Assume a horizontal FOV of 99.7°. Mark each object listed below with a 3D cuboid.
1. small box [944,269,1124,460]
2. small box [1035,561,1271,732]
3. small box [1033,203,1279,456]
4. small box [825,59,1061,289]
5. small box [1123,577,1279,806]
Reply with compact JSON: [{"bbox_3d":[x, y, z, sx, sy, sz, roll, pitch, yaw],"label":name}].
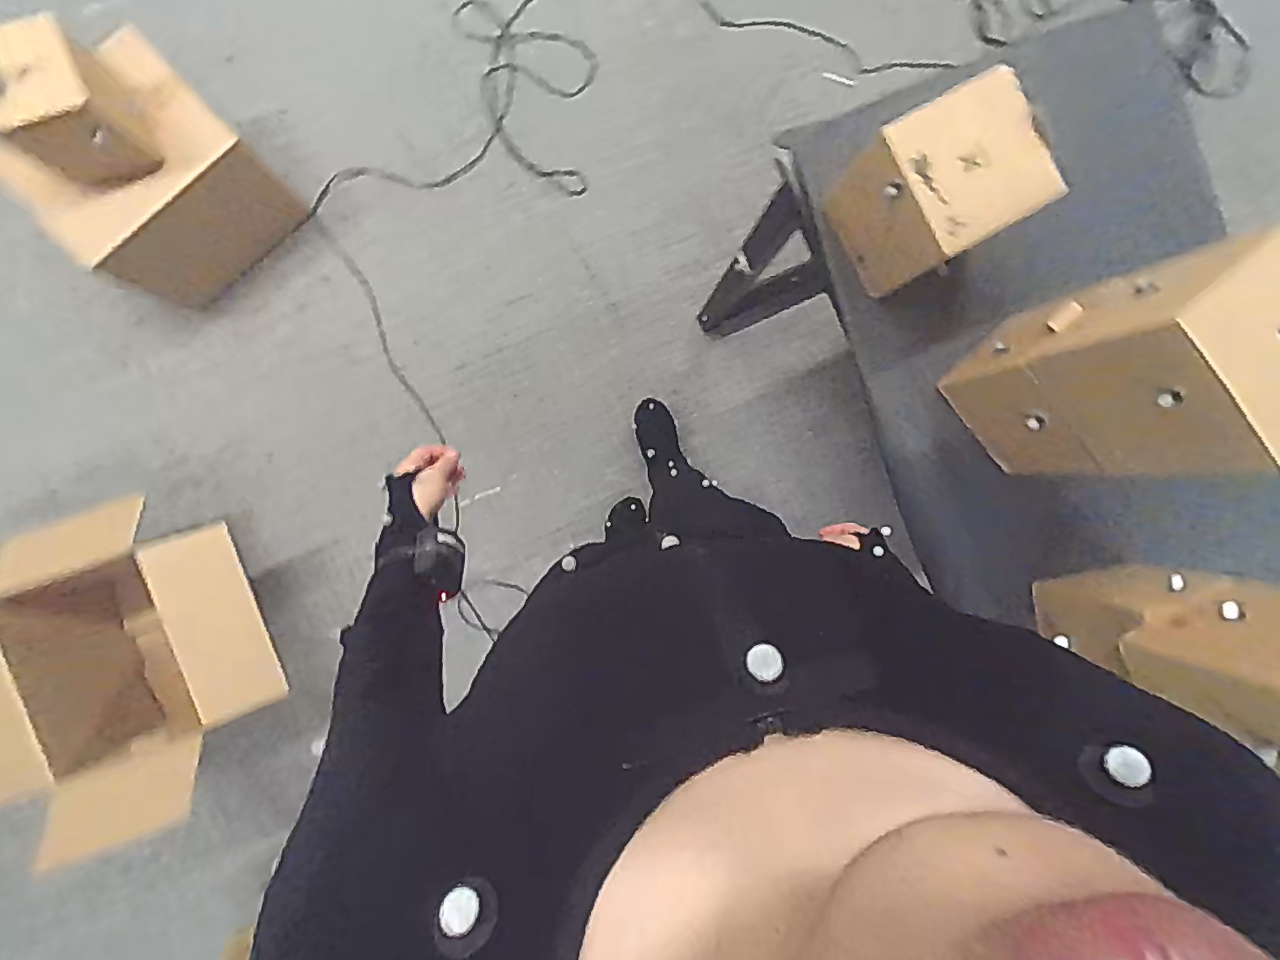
[{"bbox_3d":[0.559,-0.139,0.727,0.168,0.176,0.179,-41,94,-3],"label":"small box"},{"bbox_3d":[0.689,0.211,0.734,0.179,0.176,0.168,-8,90,-5],"label":"small box"},{"bbox_3d":[0.570,-0.137,0.562,0.168,0.176,0.179,-38,93,-3],"label":"small box"},{"bbox_3d":[0.381,-0.383,0.710,0.179,0.176,0.168,-29,93,-4],"label":"small box"},{"bbox_3d":[0.682,0.223,0.570,0.168,0.176,0.179,-25,91,-5],"label":"small box"}]
